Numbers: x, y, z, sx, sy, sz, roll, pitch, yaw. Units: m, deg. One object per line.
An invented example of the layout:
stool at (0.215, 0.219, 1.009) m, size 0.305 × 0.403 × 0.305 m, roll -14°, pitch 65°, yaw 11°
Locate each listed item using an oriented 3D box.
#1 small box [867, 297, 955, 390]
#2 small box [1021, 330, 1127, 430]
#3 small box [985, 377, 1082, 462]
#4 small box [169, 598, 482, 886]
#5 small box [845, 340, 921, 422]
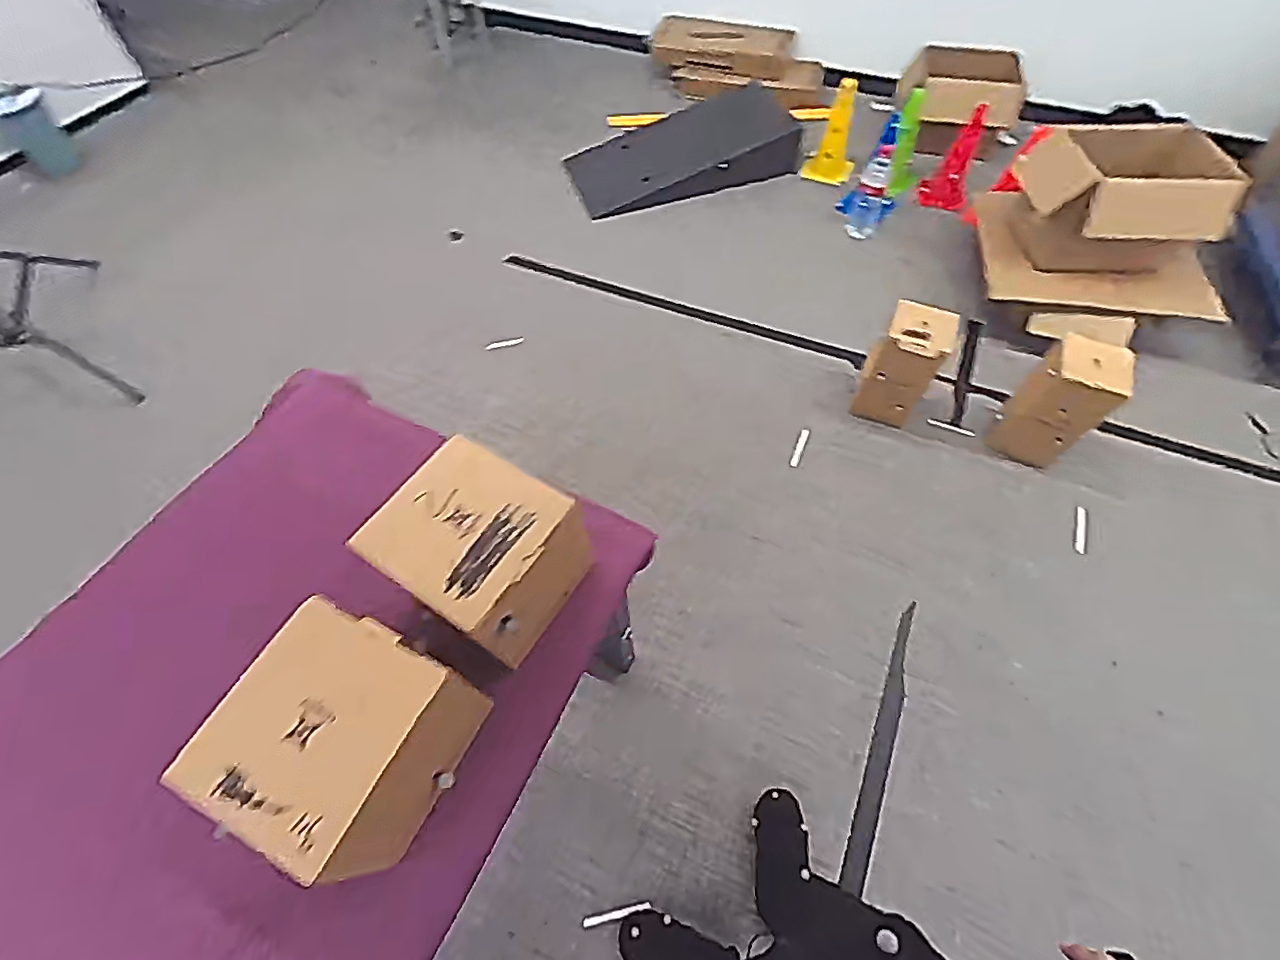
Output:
small box at (0.773, -0.388, 1.558) m, size 0.168 × 0.176 × 0.179 m, roll 21°, pitch 60°, yaw 13°
small box at (1.184, -0.271, 1.483) m, size 0.168 × 0.176 × 0.179 m, roll 21°, pitch 62°, yaw 12°
small box at (1.179, -0.178, 1.616) m, size 0.179 × 0.176 × 0.168 m, roll 25°, pitch 62°, yaw 14°
small box at (-0.276, 0.250, 0.529) m, size 0.168 × 0.176 × 0.179 m, roll 22°, pitch 61°, yaw 13°
small box at (0.770, -0.306, 1.700) m, size 0.179 × 0.176 × 0.168 m, roll 18°, pitch 60°, yaw 13°
